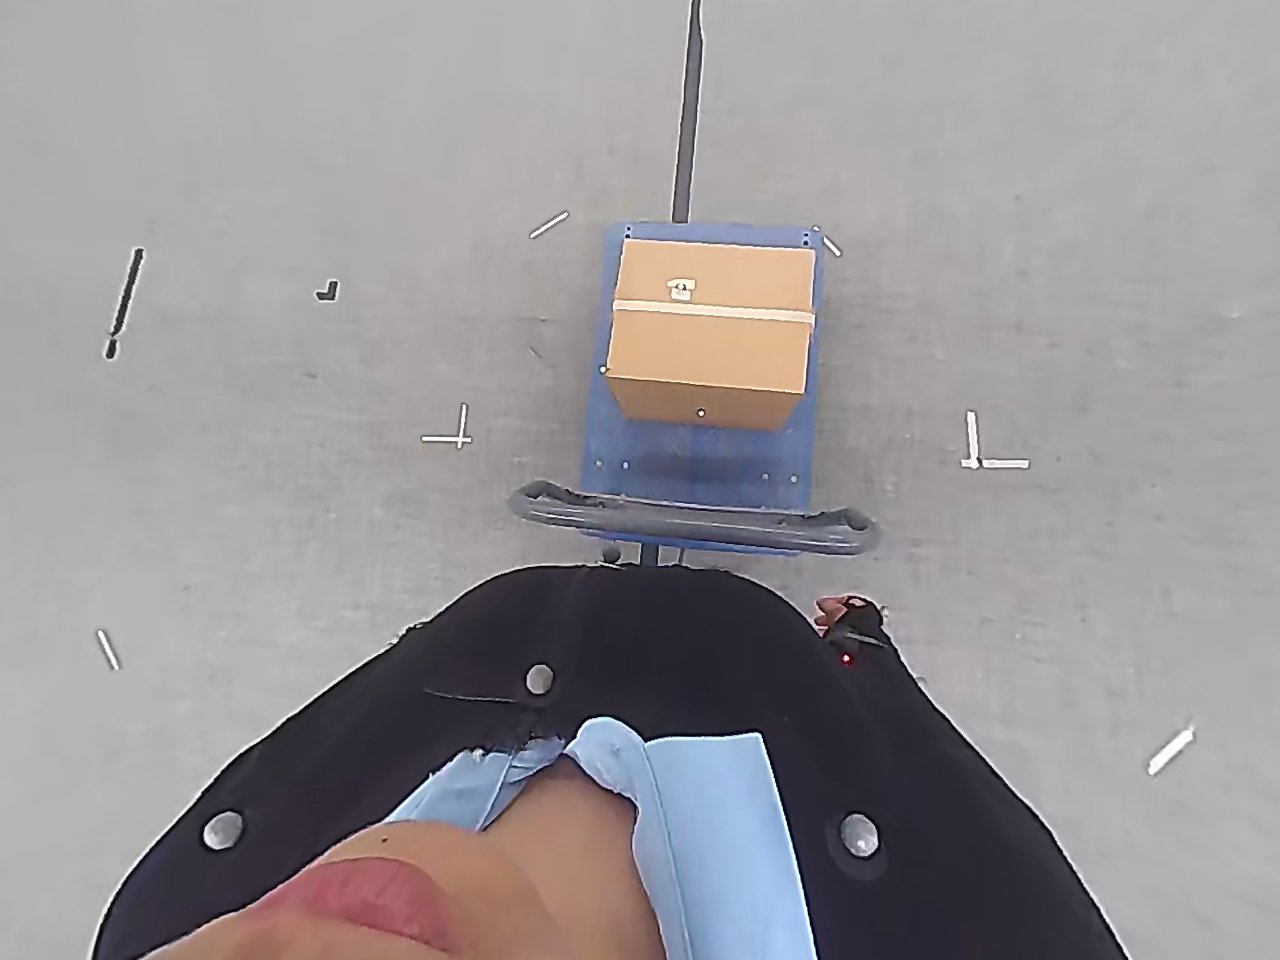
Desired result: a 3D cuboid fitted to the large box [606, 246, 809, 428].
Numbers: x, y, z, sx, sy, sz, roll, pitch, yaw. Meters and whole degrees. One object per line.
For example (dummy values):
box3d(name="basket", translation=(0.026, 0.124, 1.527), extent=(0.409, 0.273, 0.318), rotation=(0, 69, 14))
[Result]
box3d(name="large box", translation=(0.160, -0.318, 1.272), extent=(0.408, 0.320, 0.320), rotation=(6, 80, 8))
